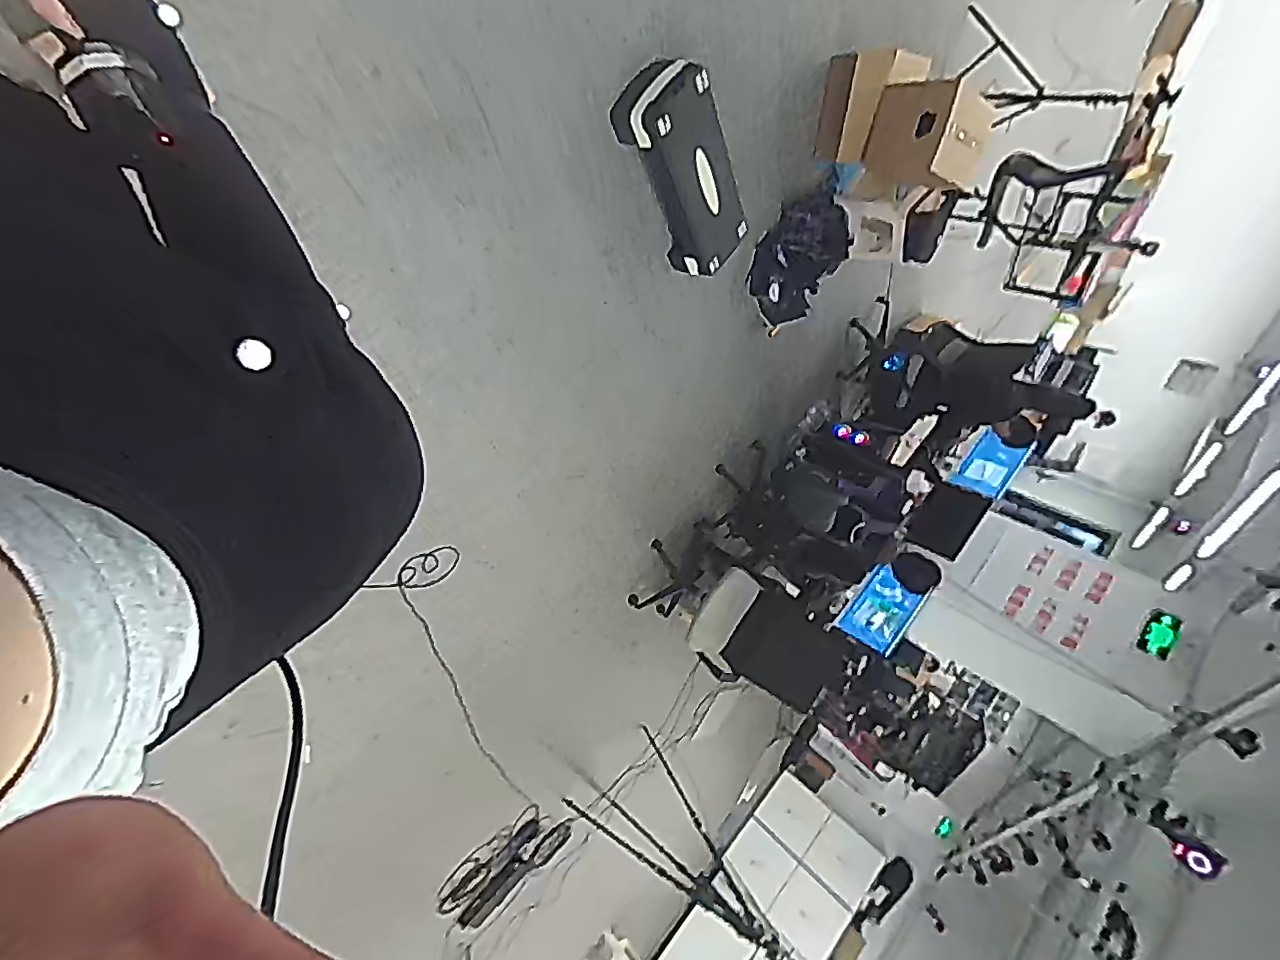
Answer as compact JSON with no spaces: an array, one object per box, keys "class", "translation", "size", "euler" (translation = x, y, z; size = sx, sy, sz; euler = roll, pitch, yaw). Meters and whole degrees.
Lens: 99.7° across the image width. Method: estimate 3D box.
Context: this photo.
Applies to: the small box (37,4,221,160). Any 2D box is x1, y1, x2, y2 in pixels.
[{"class":"small box","translation":[-0.913,-0.707,0.966],"size":[0.179,0.176,0.168],"euler":[-47,142,-15]}]
